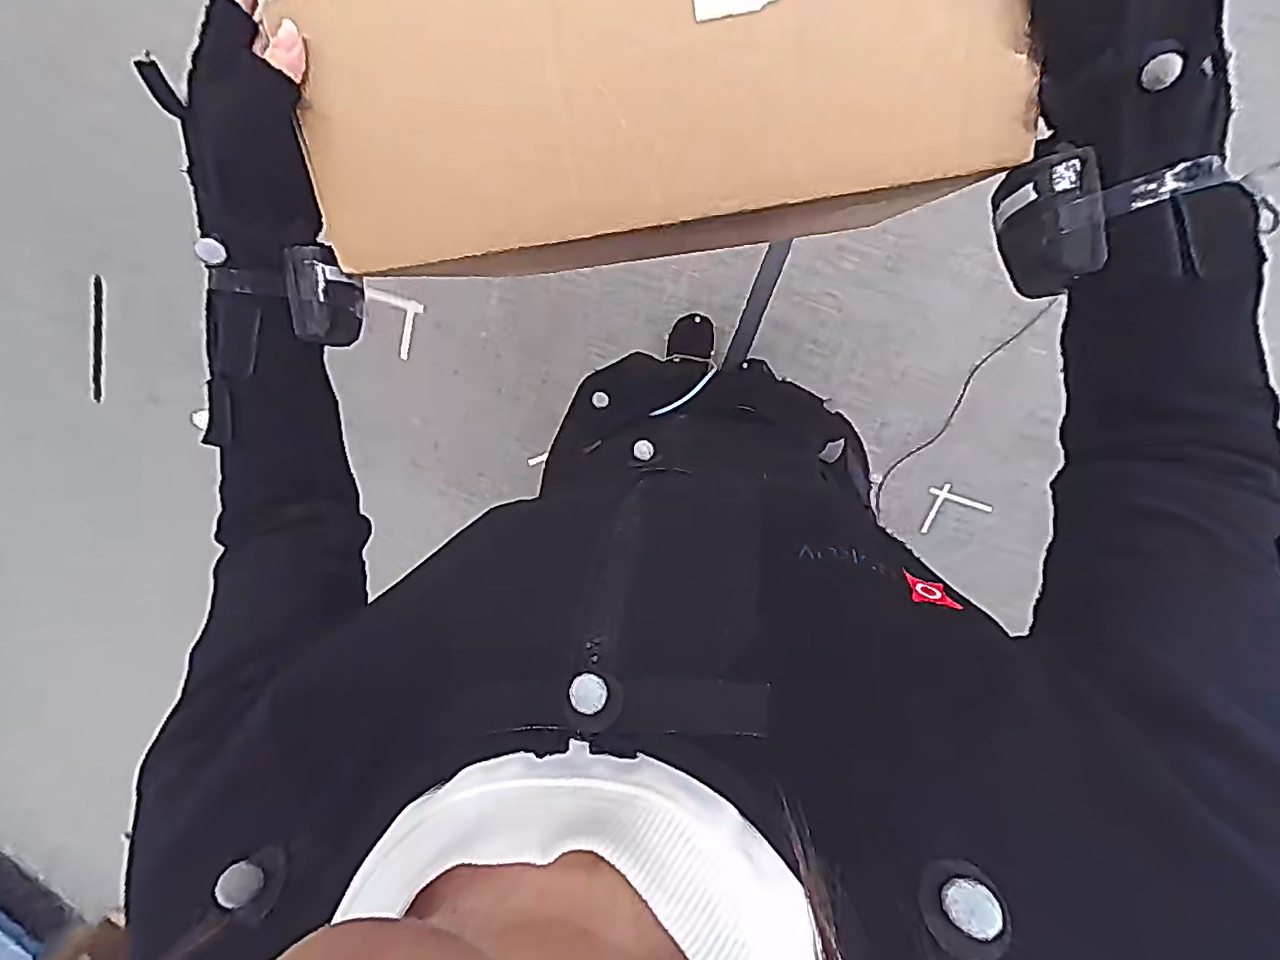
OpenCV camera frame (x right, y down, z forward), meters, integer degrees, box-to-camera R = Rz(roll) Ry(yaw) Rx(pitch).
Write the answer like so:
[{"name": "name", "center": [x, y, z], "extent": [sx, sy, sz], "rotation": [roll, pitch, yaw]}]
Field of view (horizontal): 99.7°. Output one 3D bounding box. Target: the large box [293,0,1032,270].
[{"name": "large box", "center": [0.011, -0.356, 0.416], "extent": [0.408, 0.320, 0.320], "rotation": [-4, 110, 10]}]
